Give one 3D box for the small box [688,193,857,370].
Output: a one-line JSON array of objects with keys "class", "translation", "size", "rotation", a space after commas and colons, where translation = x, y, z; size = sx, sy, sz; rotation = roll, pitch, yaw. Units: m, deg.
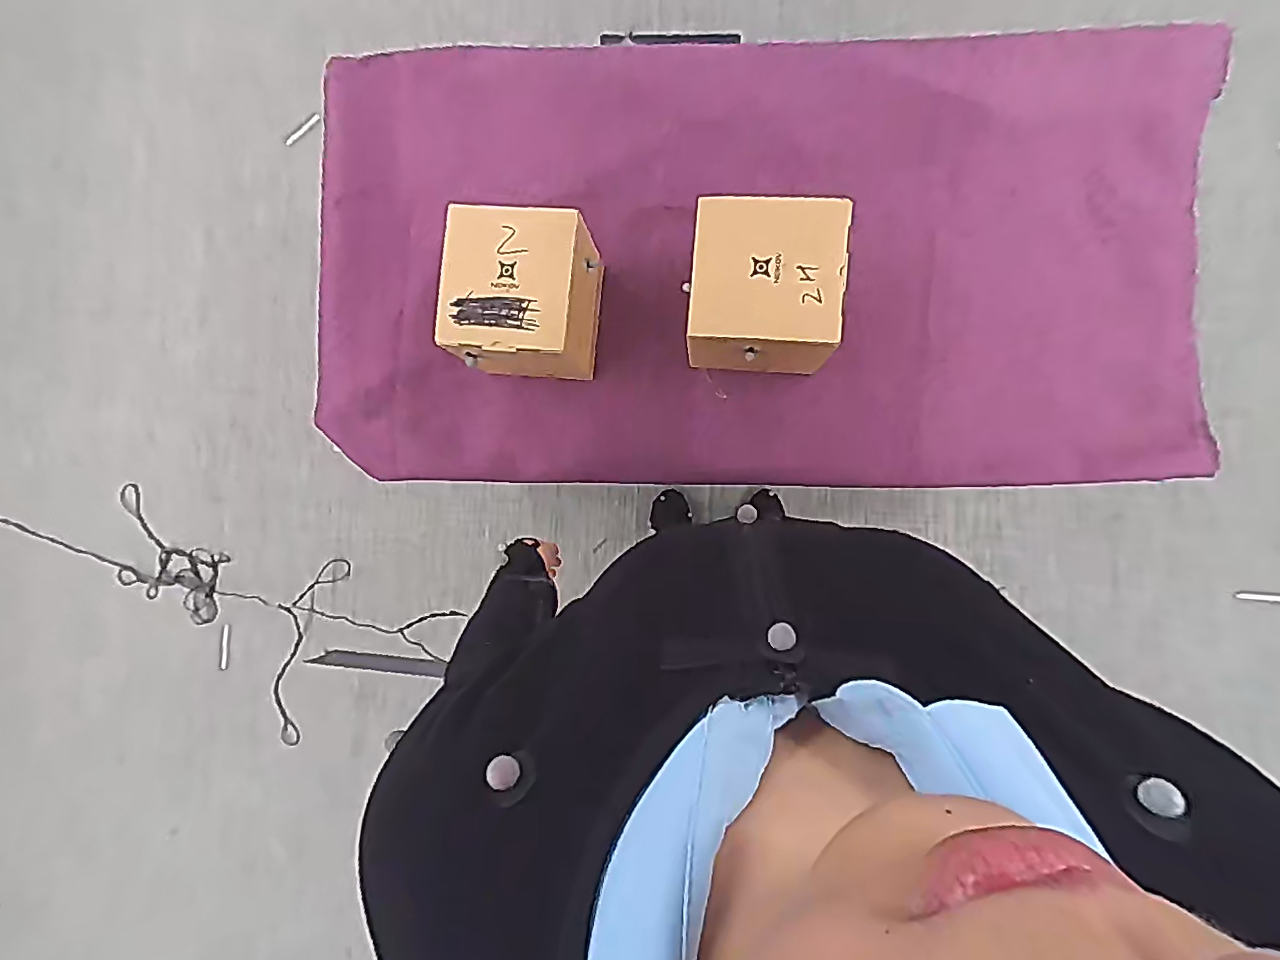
[{"class": "small box", "translation": [0.159, -0.241, 0.692], "size": [0.179, 0.176, 0.168], "rotation": [5, 90, 7]}]
